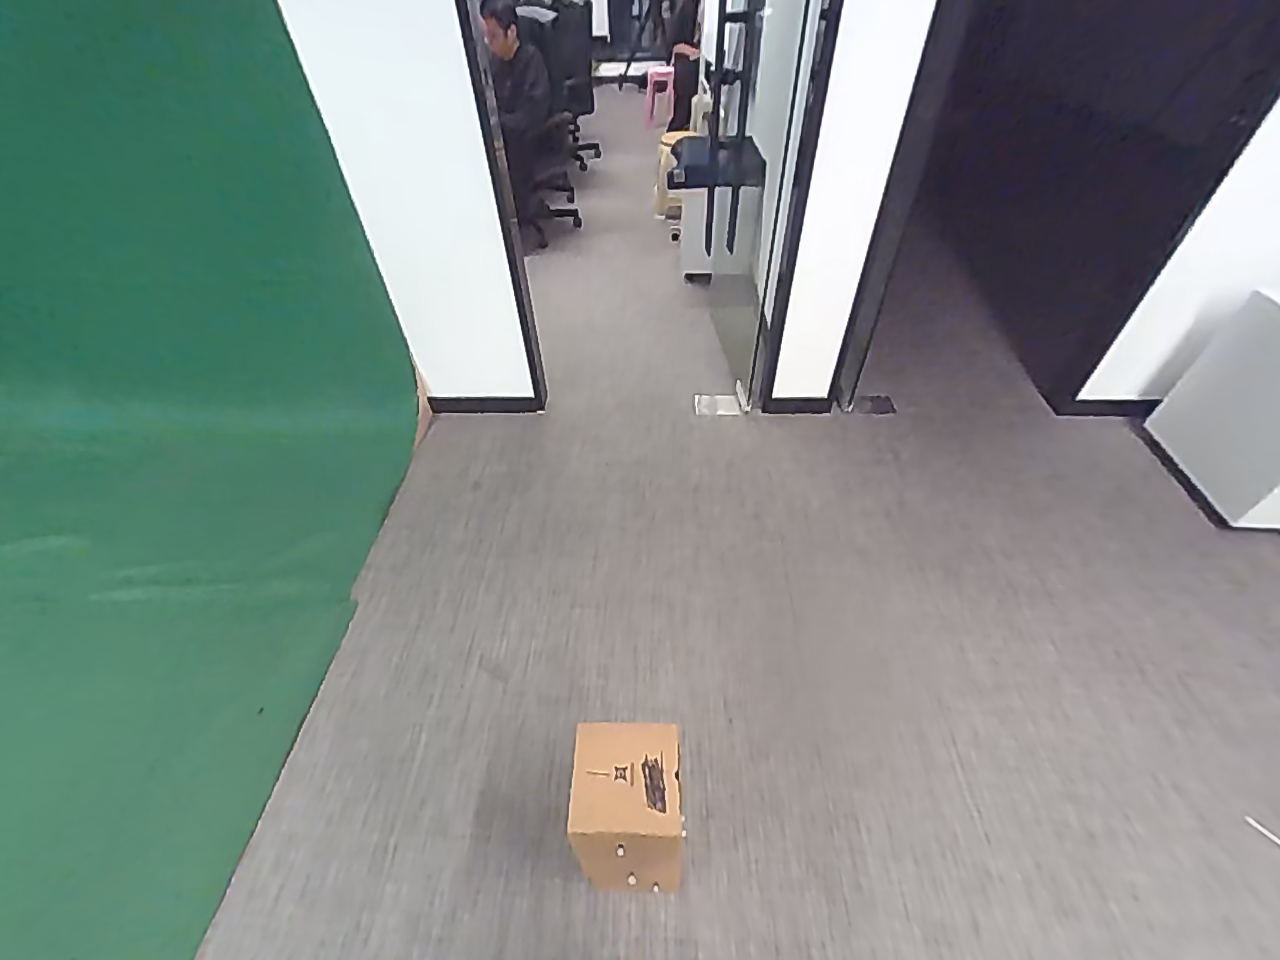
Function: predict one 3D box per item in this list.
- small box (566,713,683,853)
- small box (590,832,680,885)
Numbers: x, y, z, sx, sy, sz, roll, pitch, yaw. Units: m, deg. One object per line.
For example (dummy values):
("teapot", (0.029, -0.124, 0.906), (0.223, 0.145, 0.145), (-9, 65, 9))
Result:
("small box", (-0.019, 0.524, 0.932), (0.179, 0.176, 0.168), (2, 43, 4))
("small box", (-0.005, 0.757, 1.167), (0.179, 0.176, 0.168), (-1, 45, 3))
